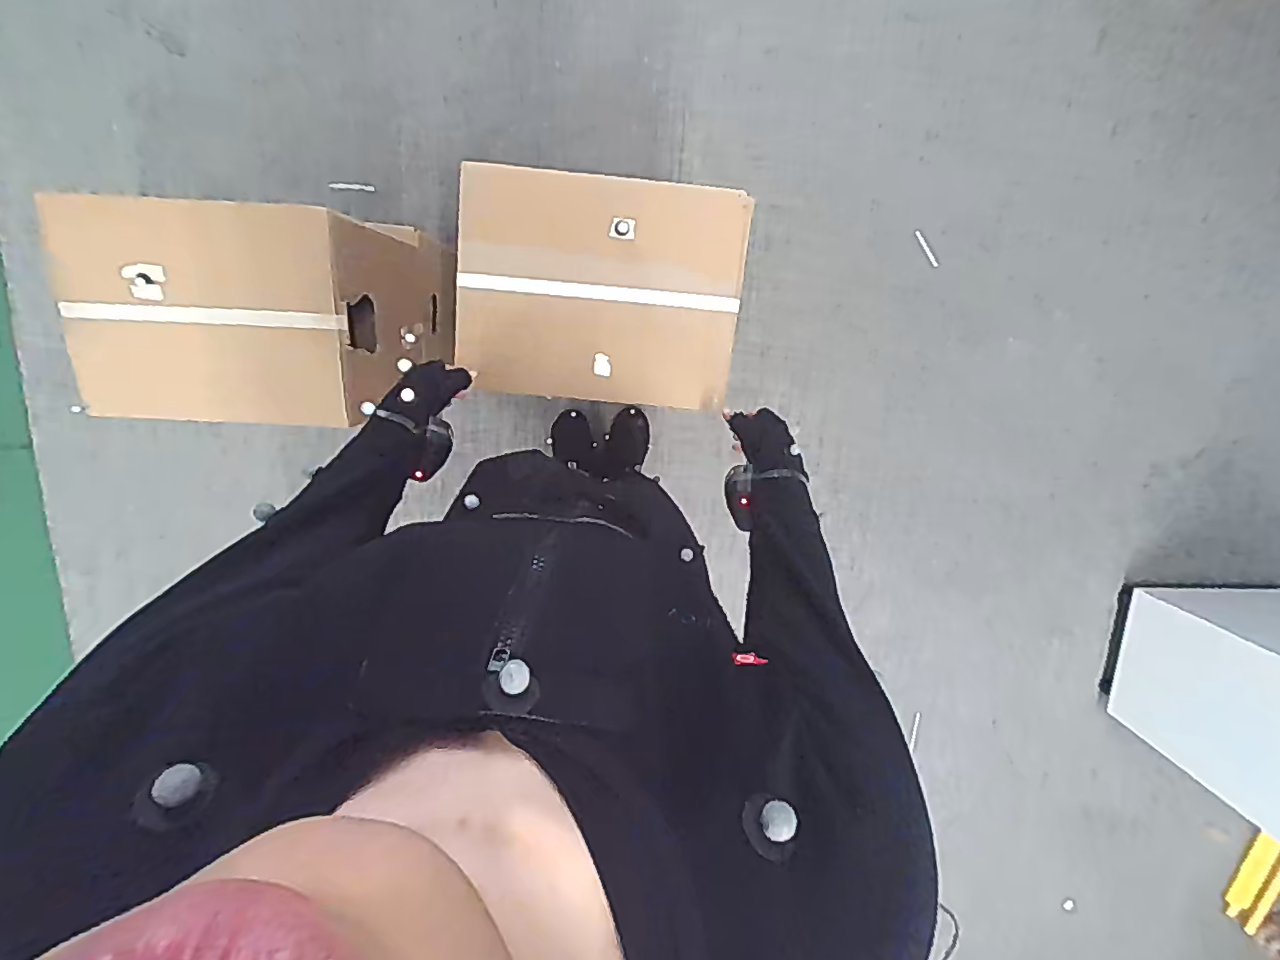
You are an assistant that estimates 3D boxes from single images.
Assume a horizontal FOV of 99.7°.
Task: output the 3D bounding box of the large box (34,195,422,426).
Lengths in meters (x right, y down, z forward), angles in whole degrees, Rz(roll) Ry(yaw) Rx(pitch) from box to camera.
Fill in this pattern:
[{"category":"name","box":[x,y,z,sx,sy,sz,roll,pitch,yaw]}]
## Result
[{"category":"large box","box":[-0.639,-0.280,0.926,0.408,0.320,0.320,3,105,0]}]
